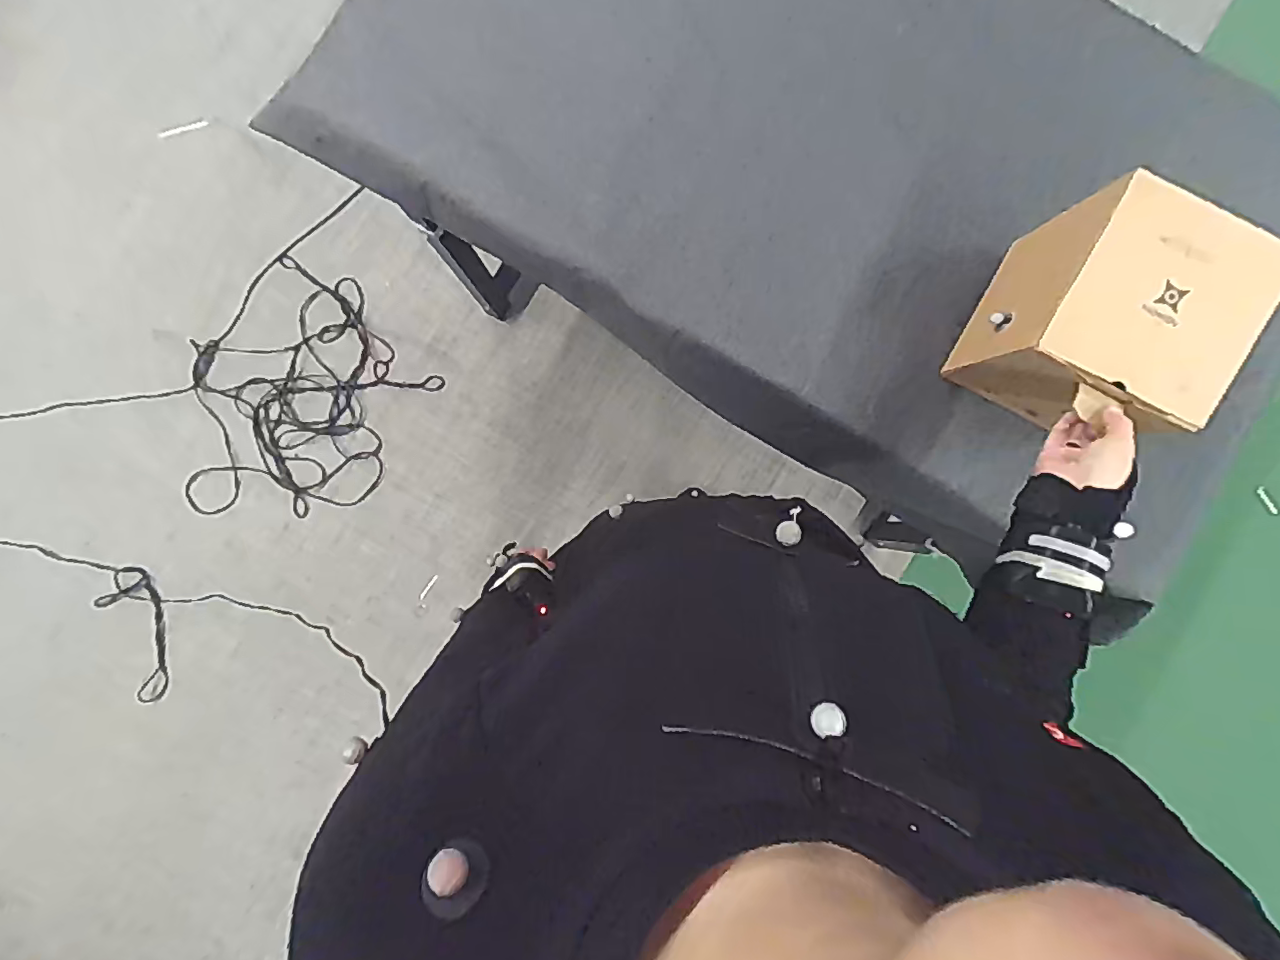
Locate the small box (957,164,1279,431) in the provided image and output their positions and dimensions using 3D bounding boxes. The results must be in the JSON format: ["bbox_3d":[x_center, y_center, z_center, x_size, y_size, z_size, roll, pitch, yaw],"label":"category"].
[{"bbox_3d":[0.460,-0.159,0.542,0.168,0.176,0.179,27,93,0],"label":"small box"}]
